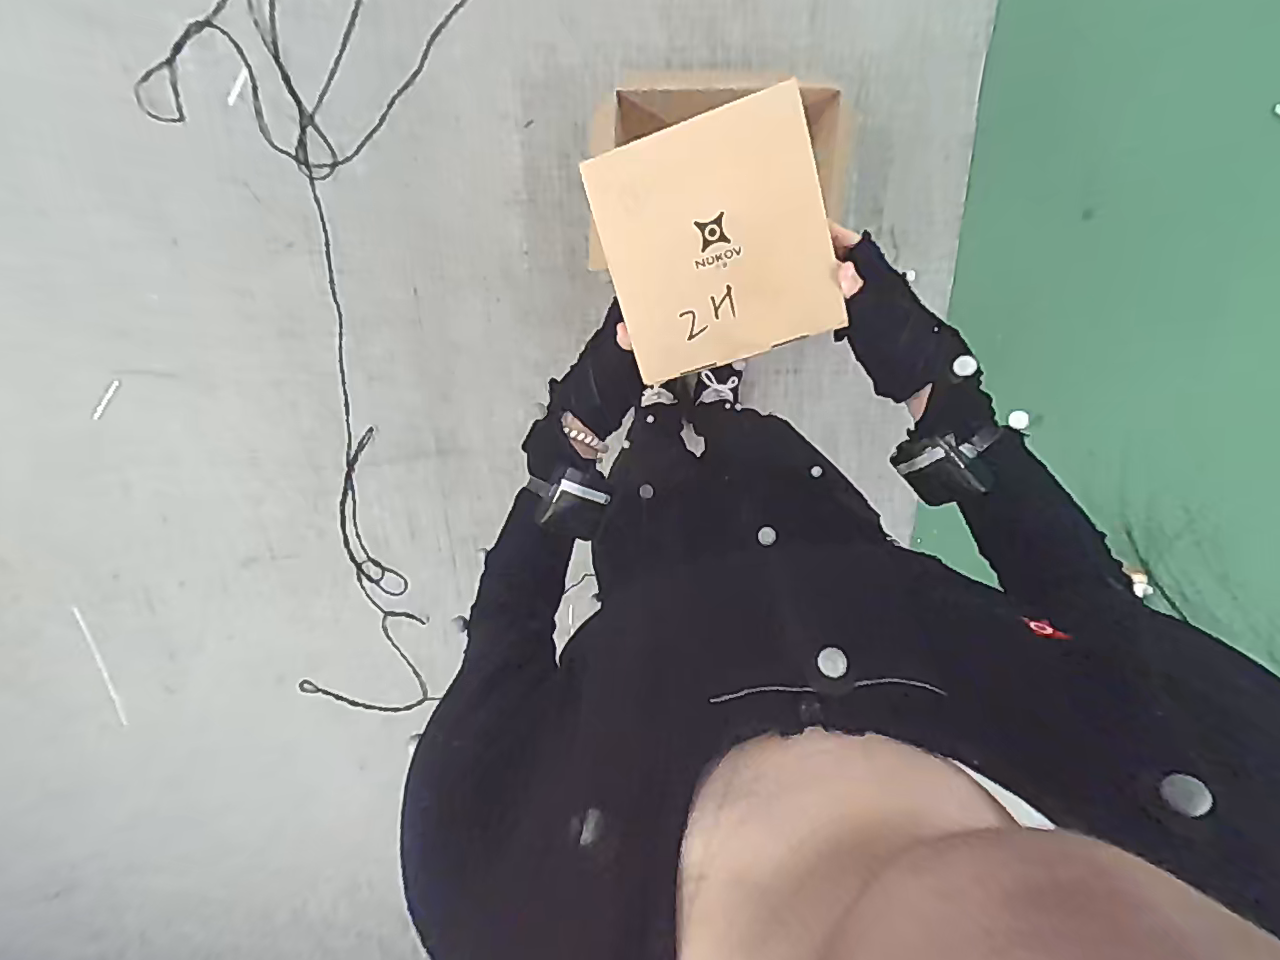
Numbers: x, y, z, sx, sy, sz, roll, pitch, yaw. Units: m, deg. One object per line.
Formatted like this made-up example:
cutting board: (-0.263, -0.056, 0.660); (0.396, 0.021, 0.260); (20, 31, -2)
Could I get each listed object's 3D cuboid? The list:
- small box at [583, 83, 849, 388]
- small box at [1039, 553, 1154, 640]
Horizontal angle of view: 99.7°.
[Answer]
small box: (0.067, -0.191, 0.476); (0.168, 0.176, 0.179); (-14, 102, 12)
small box: (1.246, 0.318, 1.493); (0.168, 0.176, 0.179); (-3, 107, 2)
